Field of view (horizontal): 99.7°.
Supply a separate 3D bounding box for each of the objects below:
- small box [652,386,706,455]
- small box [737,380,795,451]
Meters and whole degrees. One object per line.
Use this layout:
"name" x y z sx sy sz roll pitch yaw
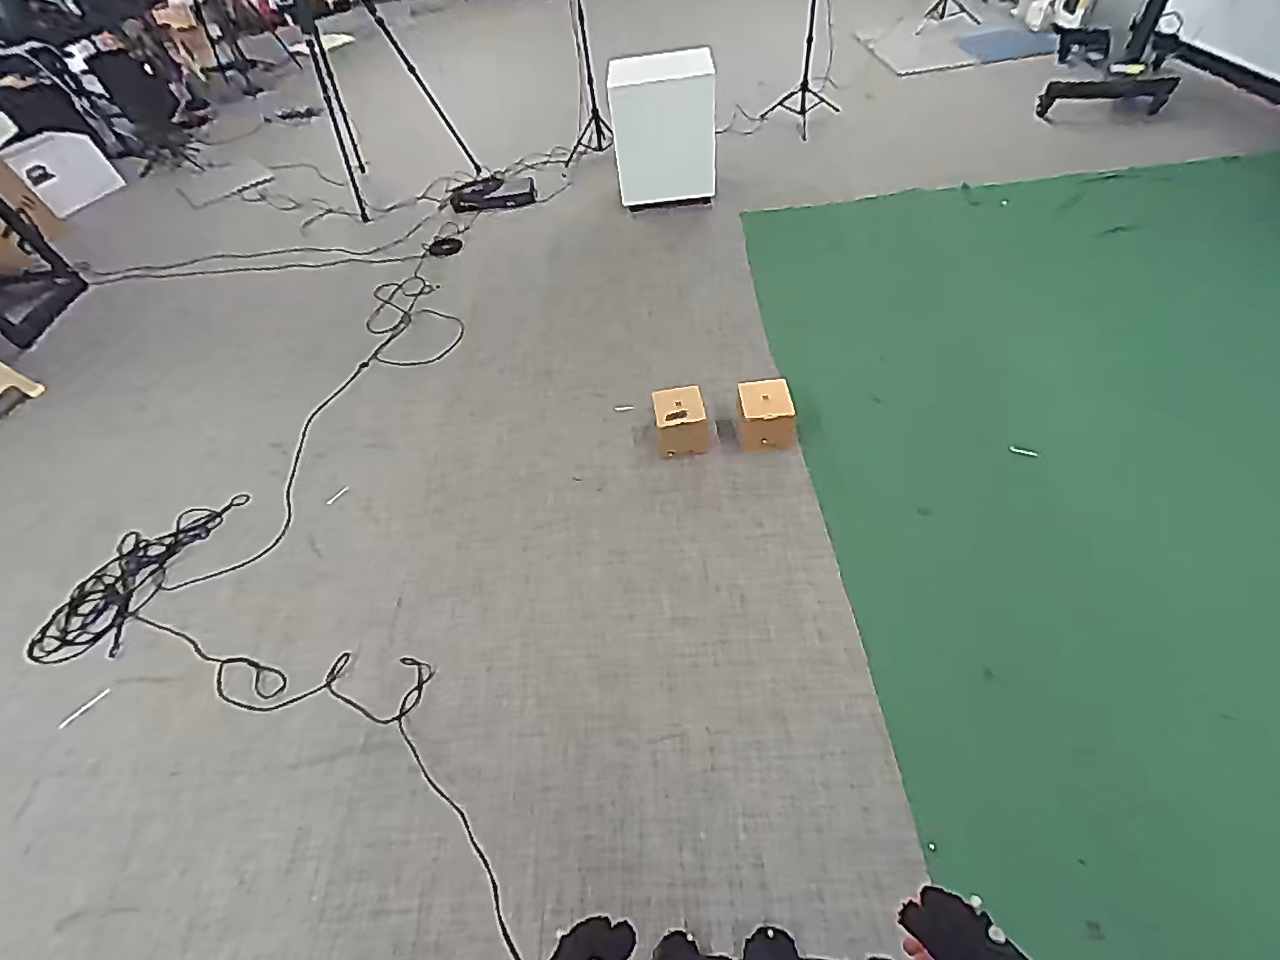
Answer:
"small box" 0.140 -0.202 1.901 0.168 0.176 0.179 -8 51 0
"small box" 0.432 -0.223 1.883 0.168 0.176 0.179 -6 52 4
